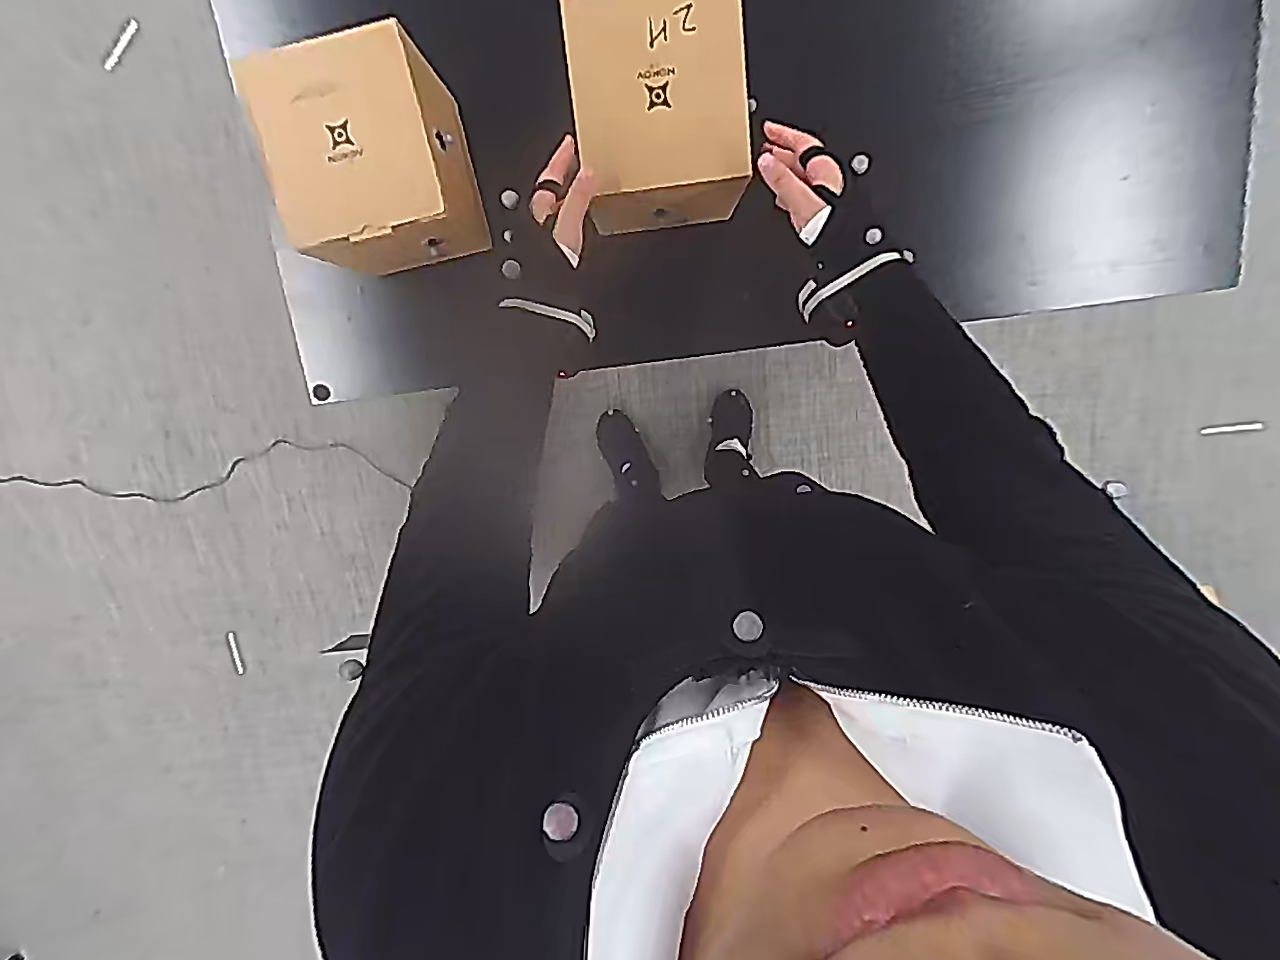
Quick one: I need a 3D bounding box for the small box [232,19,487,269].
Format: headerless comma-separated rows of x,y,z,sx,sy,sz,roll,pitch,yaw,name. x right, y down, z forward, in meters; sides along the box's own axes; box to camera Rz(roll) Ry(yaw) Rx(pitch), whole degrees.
-0.287,-0.346,0.600,0.168,0.176,0.179,-12,101,3,small box

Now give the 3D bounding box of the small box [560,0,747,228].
0.017,-0.384,0.583,0.168,0.176,0.179,-6,102,2,small box
